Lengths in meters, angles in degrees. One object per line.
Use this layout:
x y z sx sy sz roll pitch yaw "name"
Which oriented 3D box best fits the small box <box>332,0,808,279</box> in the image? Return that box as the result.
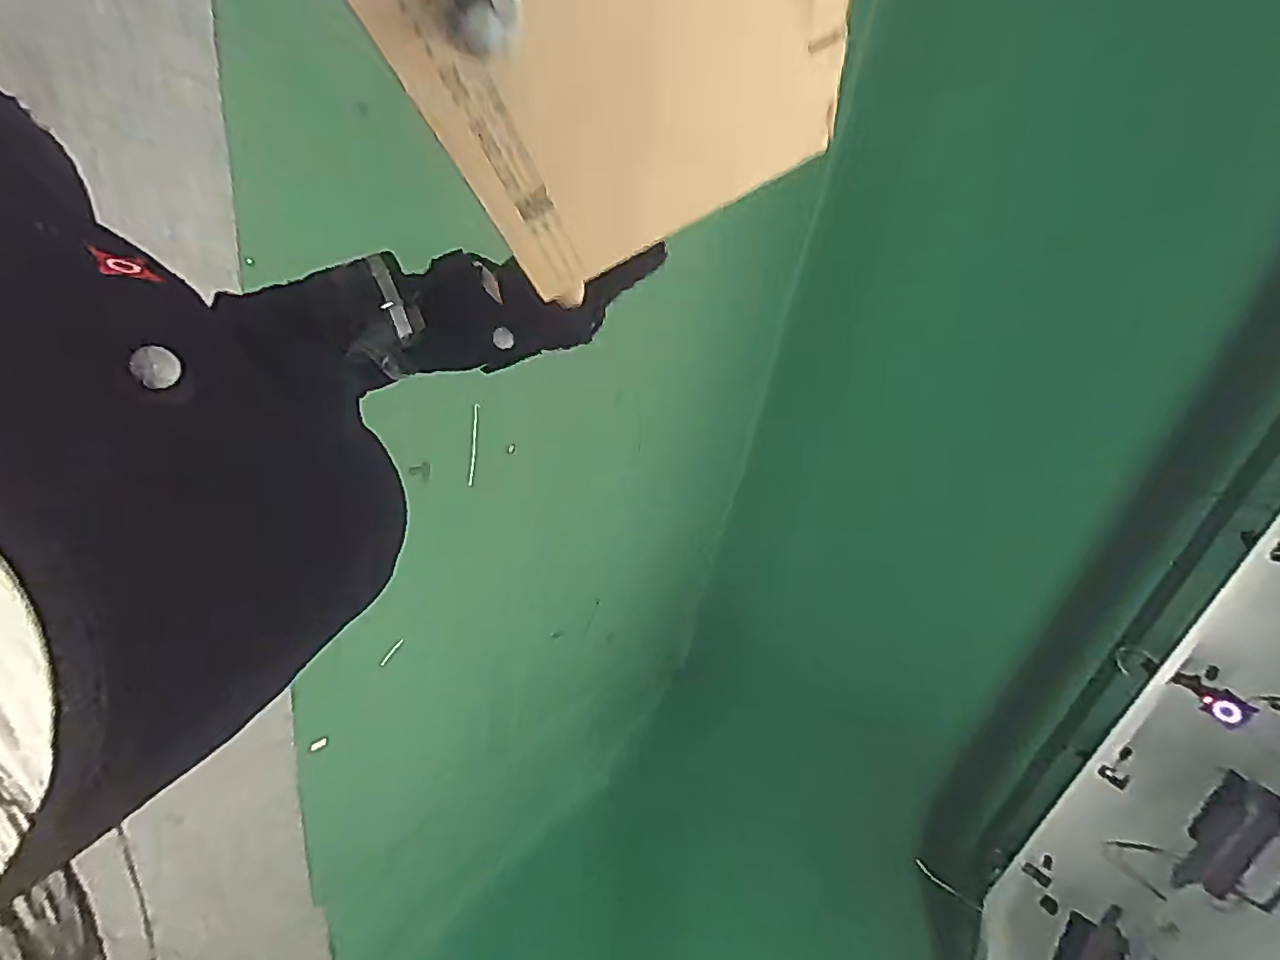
-0.044 -0.227 0.235 0.176 0.179 0.168 -29 163 2 "small box"
